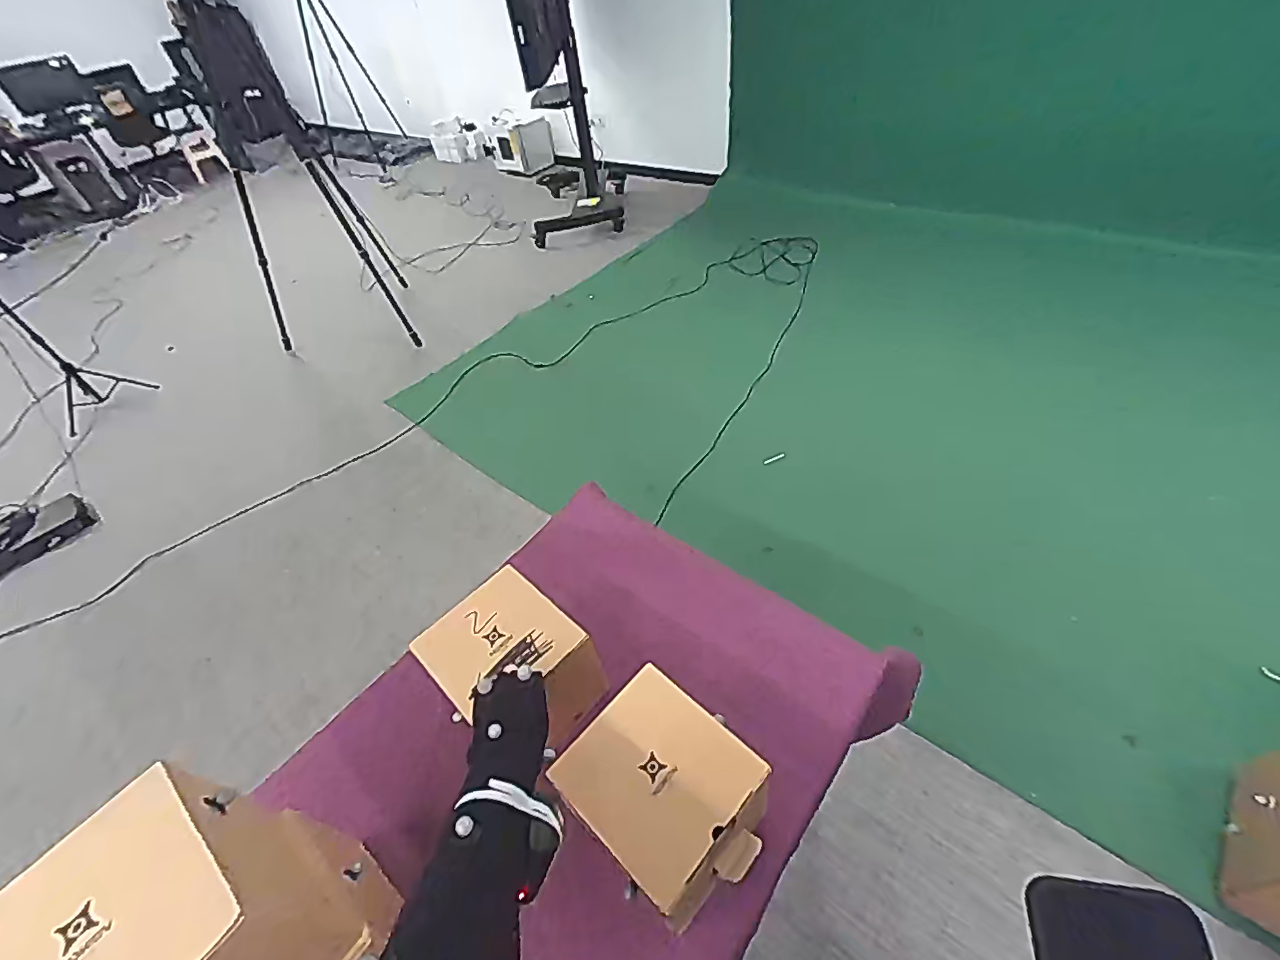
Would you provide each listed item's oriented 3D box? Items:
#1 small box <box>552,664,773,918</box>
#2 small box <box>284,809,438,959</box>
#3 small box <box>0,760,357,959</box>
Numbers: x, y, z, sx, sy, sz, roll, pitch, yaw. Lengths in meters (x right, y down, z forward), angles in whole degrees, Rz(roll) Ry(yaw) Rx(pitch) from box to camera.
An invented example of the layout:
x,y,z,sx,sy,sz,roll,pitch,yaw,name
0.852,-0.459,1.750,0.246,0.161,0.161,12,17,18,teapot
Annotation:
x,y,z,sx,sy,sz,roll,pitch,yaw,name
0.030,0.356,0.620,0.179,0.176,0.168,32,59,33,small box
-0.344,0.489,0.559,0.179,0.176,0.168,26,55,31,small box
-0.379,0.378,0.442,0.179,0.176,0.168,26,56,30,small box
